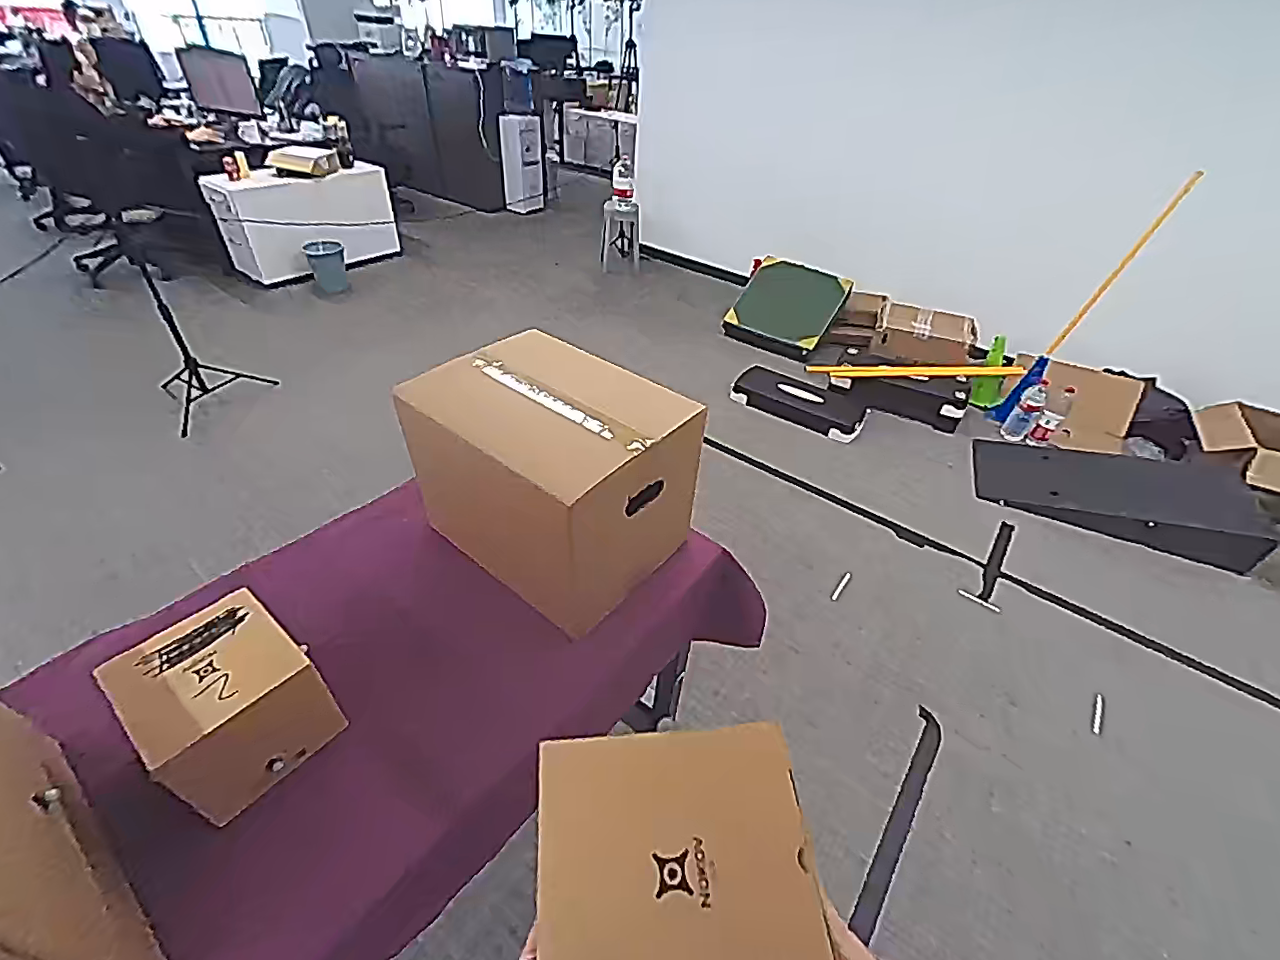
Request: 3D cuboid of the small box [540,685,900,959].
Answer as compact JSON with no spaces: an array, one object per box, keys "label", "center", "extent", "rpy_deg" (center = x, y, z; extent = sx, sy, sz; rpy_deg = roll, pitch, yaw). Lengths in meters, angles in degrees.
[{"label":"small box","center":[0.038,0.266,0.365],"extent":[0.168,0.176,0.179],"rpy_deg":[10,31,-22]}]
